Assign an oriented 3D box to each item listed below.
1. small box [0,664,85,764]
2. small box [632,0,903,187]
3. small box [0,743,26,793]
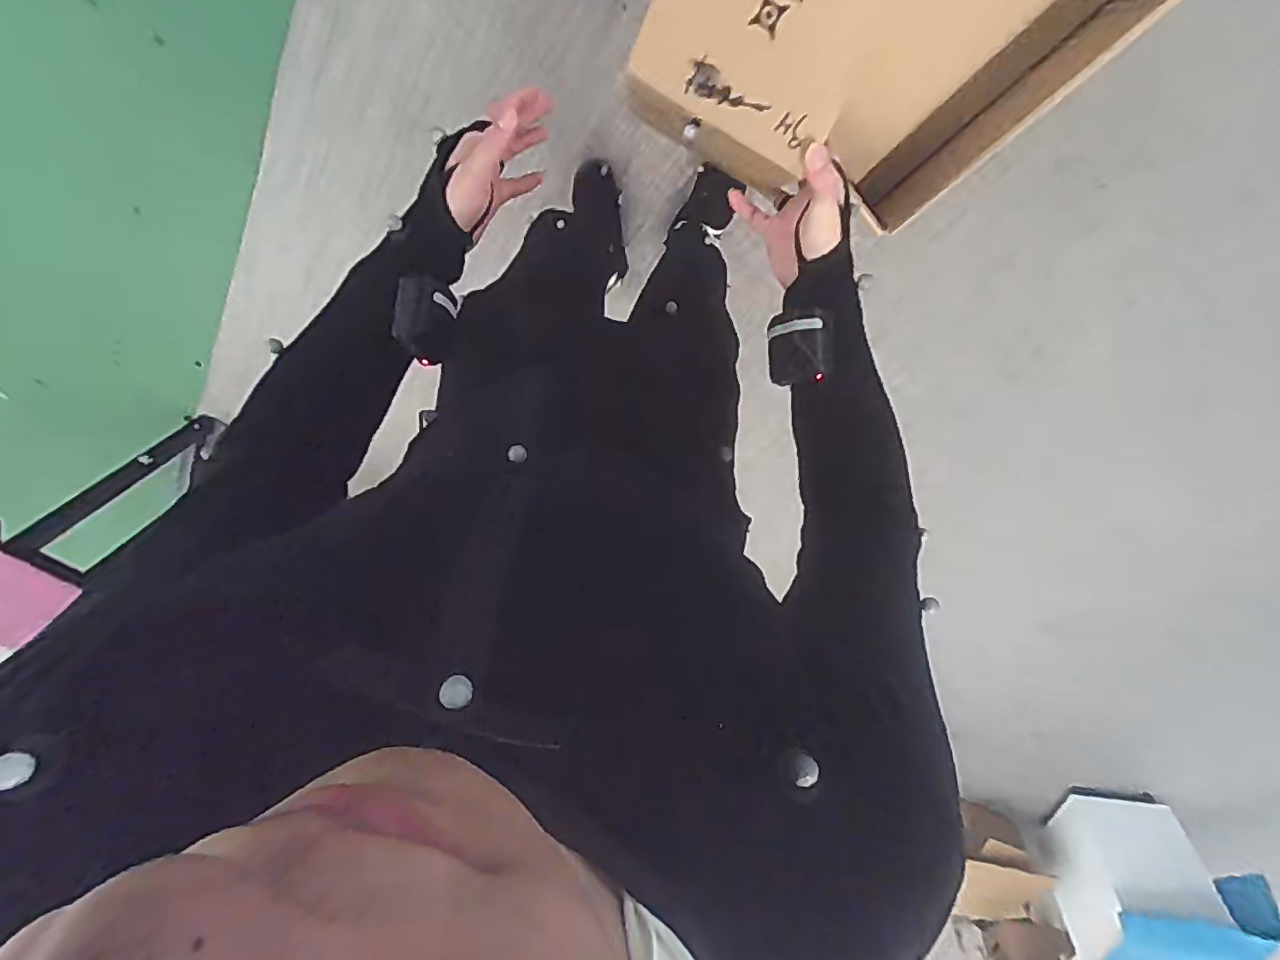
[{"bbox_3d":[-1.624,0.613,1.423,0.168,0.176,0.179,35,128,-17],"label":"small box"},{"bbox_3d":[0.101,-0.387,0.473,0.168,0.176,0.179,26,112,-11],"label":"small box"},{"bbox_3d":[-1.657,0.718,1.304,0.168,0.176,0.179,33,128,-16],"label":"small box"}]
